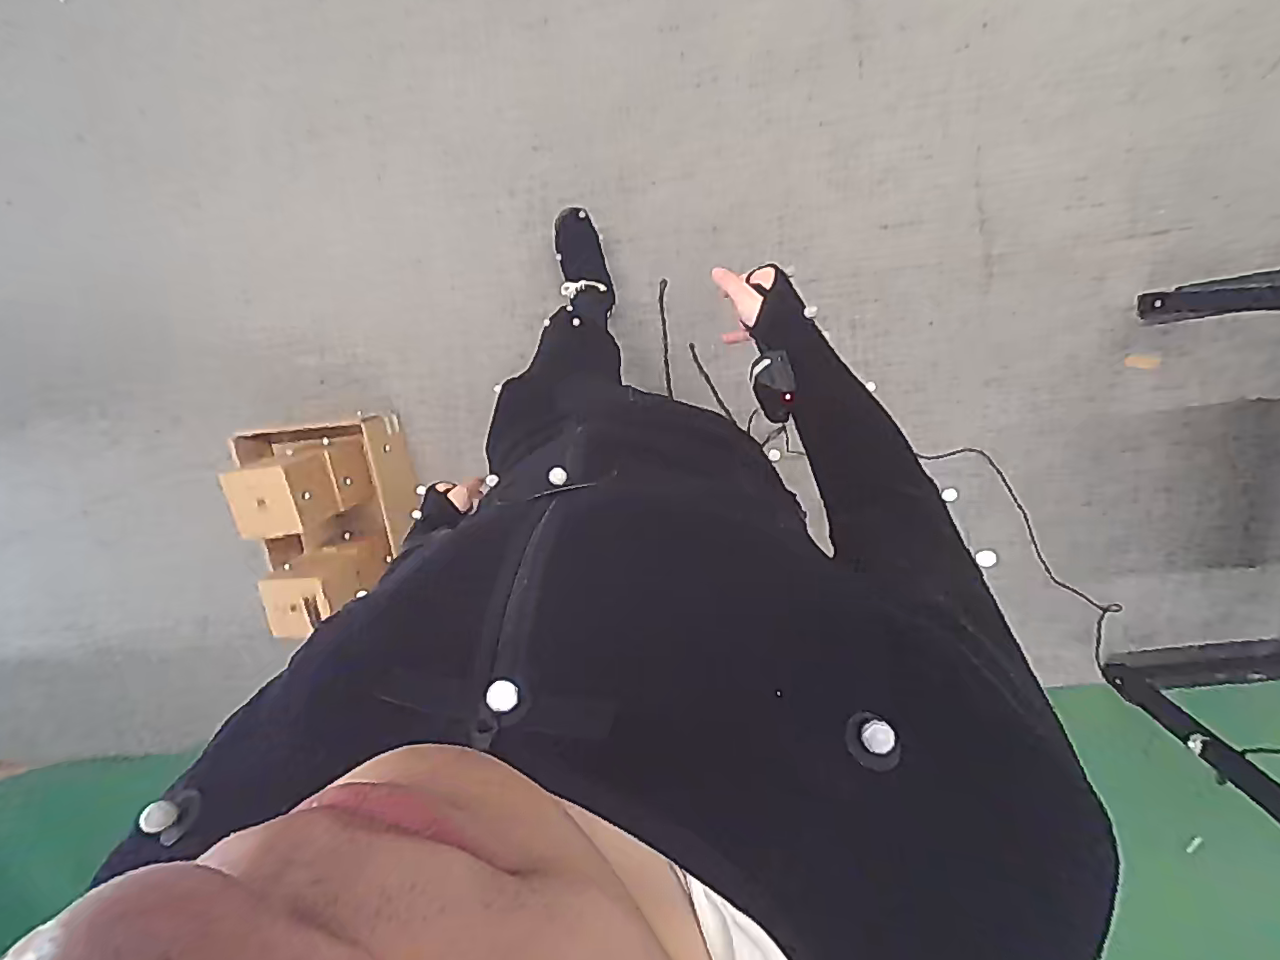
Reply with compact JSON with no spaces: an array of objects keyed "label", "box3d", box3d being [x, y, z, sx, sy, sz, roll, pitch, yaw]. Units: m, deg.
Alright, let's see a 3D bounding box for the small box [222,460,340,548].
[{"label":"small box","box3d":[-0.913,0.057,1.395,0.168,0.176,0.179,-7,105,4]}]
